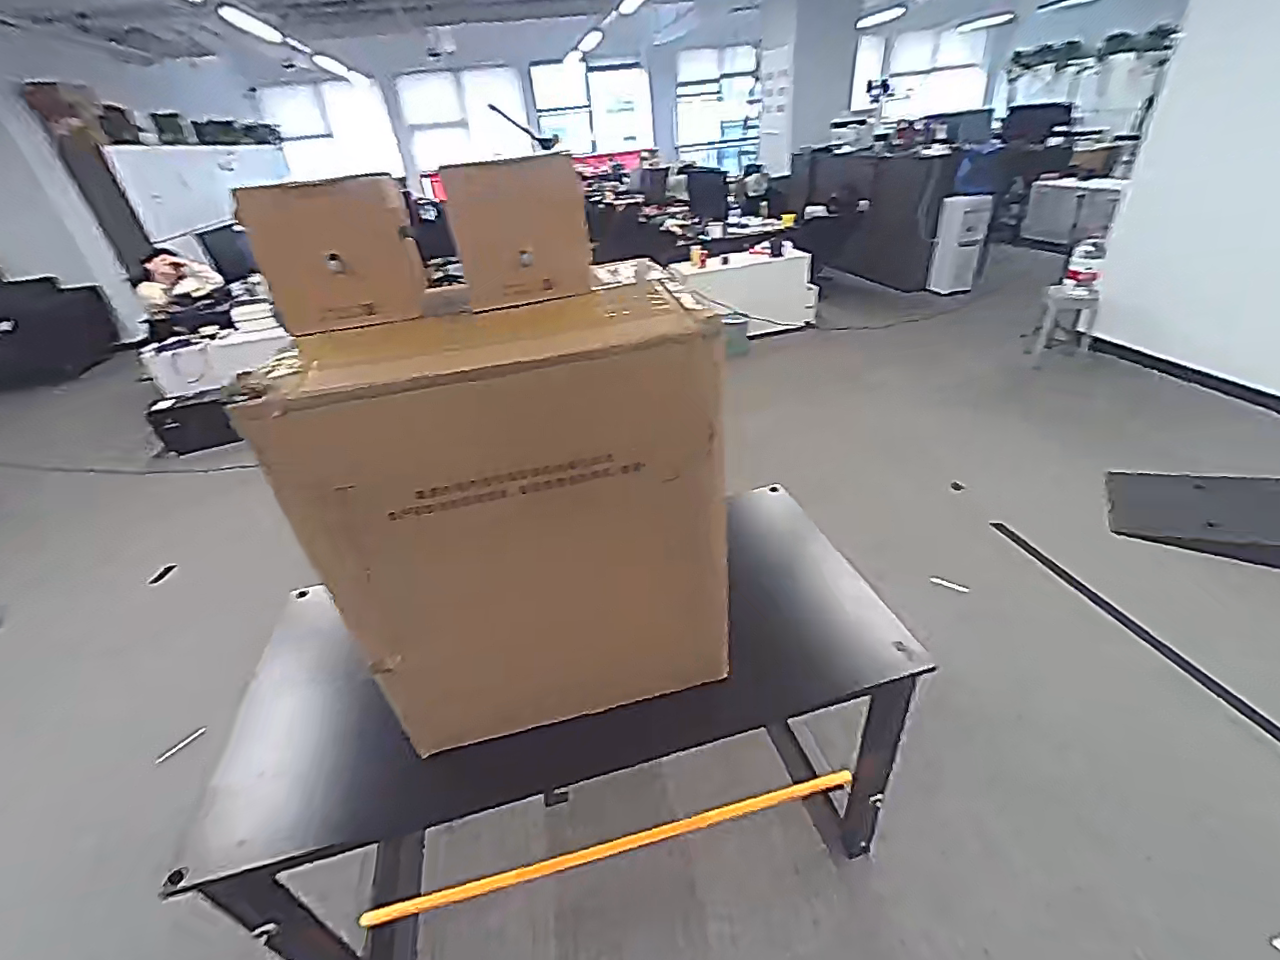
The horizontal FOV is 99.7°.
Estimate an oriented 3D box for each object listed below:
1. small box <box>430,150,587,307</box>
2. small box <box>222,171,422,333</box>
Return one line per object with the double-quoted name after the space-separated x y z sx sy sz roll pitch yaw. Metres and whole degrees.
-0.177 -0.345 0.745 0.168 0.176 0.179 -14 32 -10 "small box"
-0.398 -0.301 0.716 0.168 0.176 0.179 -13 33 -13 "small box"
